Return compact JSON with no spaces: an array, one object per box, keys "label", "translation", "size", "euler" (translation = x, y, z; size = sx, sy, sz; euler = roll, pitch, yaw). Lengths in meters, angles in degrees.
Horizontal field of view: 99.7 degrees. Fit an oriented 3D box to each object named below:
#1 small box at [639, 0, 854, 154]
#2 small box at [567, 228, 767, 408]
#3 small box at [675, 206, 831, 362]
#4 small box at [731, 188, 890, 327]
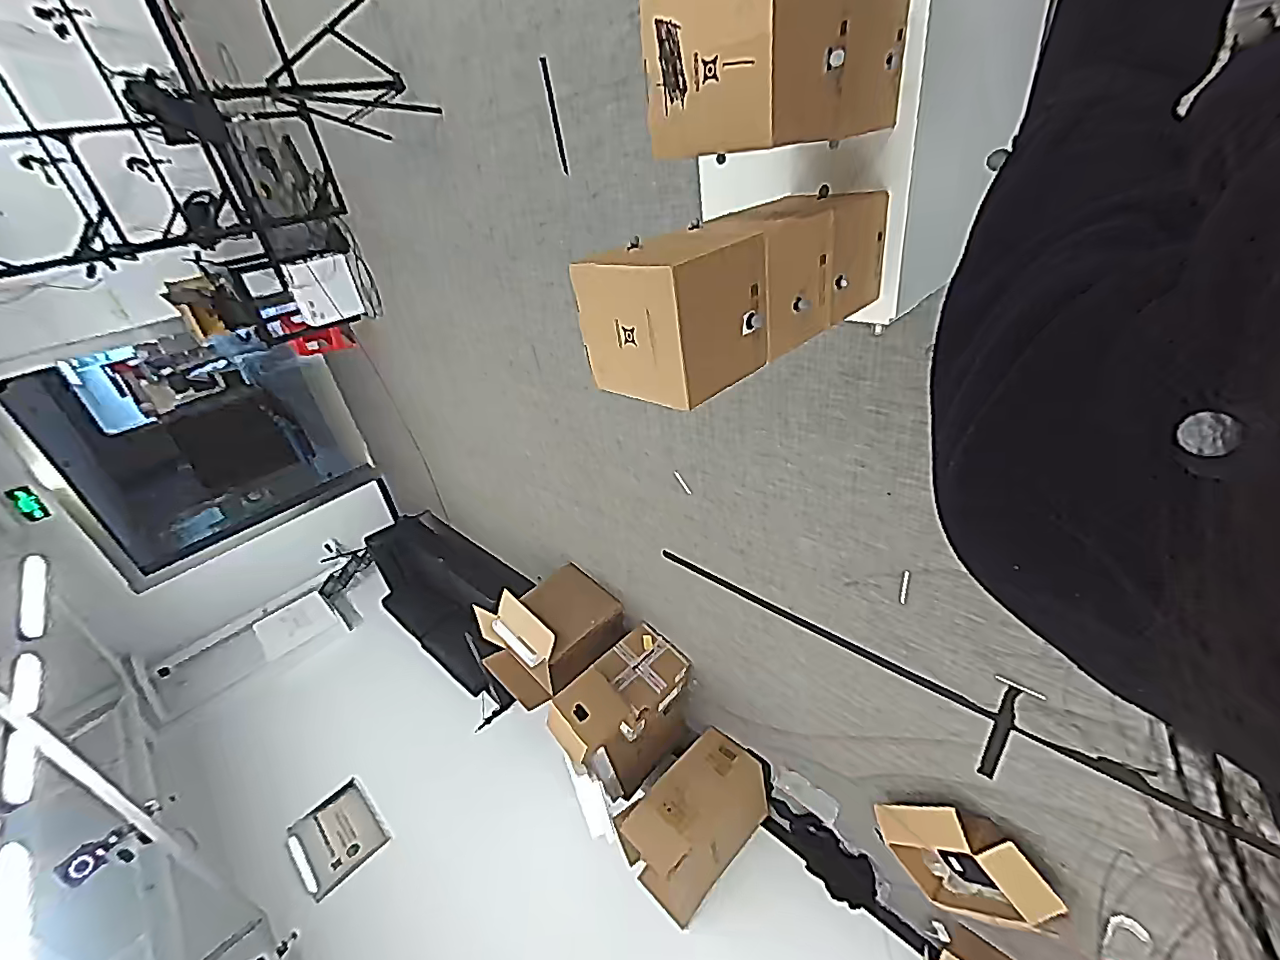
[{"label":"small box","translation":[0.124,-0.489,0.633],"size":[0.179,0.176,0.168],"euler":[23,135,38]},{"label":"small box","translation":[0.039,-0.212,0.682],"size":[0.179,0.176,0.168],"euler":[21,134,41]},{"label":"small box","translation":[0.154,-0.285,0.771],"size":[0.179,0.176,0.168],"euler":[22,134,41]},{"label":"small box","translation":[0.266,-0.359,0.861],"size":[0.179,0.176,0.168],"euler":[24,136,41]}]
